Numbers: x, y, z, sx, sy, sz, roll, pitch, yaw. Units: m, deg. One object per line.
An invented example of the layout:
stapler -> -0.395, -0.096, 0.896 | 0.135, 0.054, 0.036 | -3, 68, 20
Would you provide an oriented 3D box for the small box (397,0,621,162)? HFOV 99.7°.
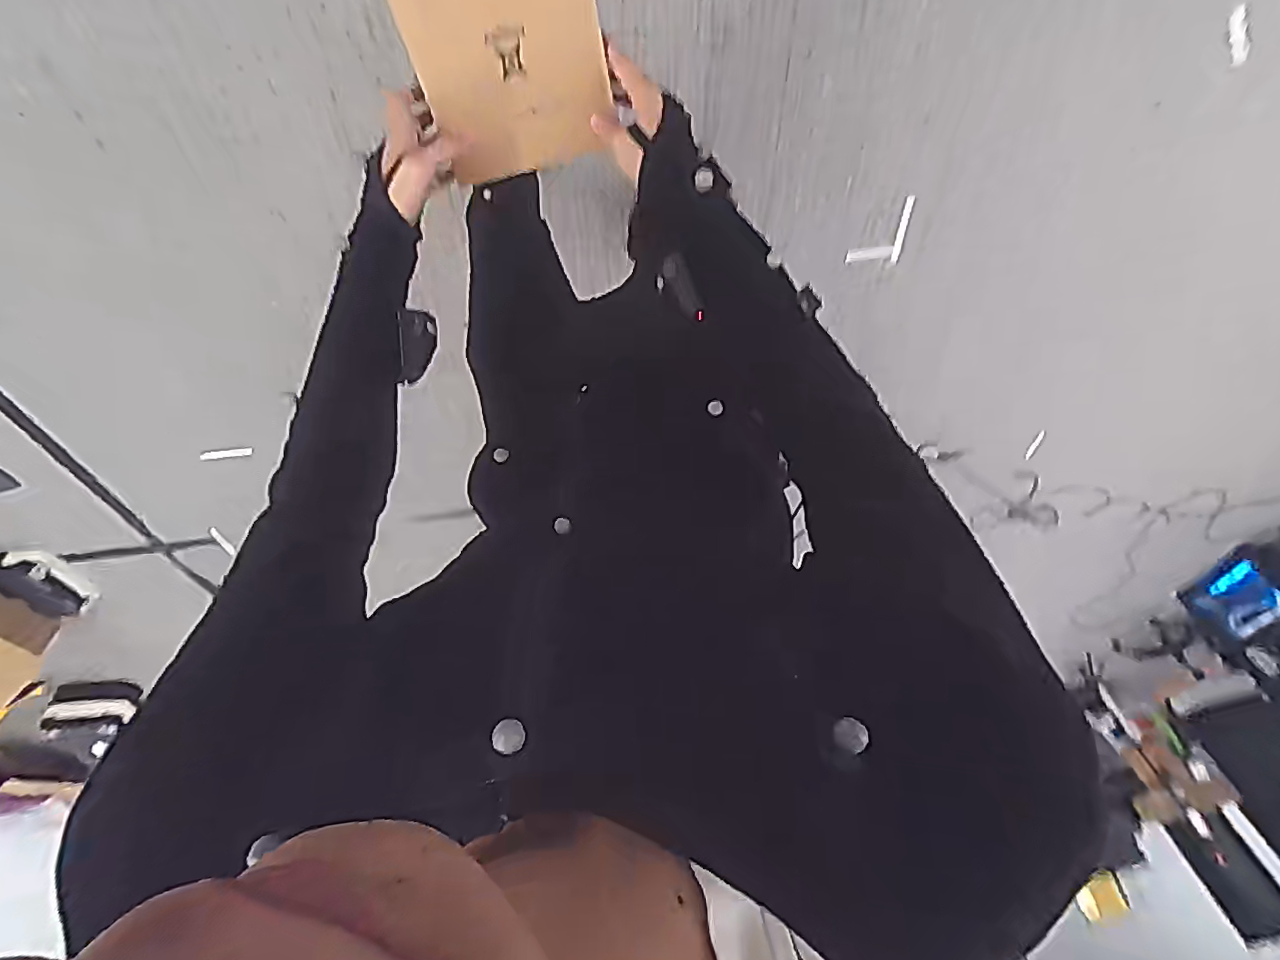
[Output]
small box -> -0.123, -0.435, 0.514 | 0.168, 0.176, 0.179 | -13, 134, 1
